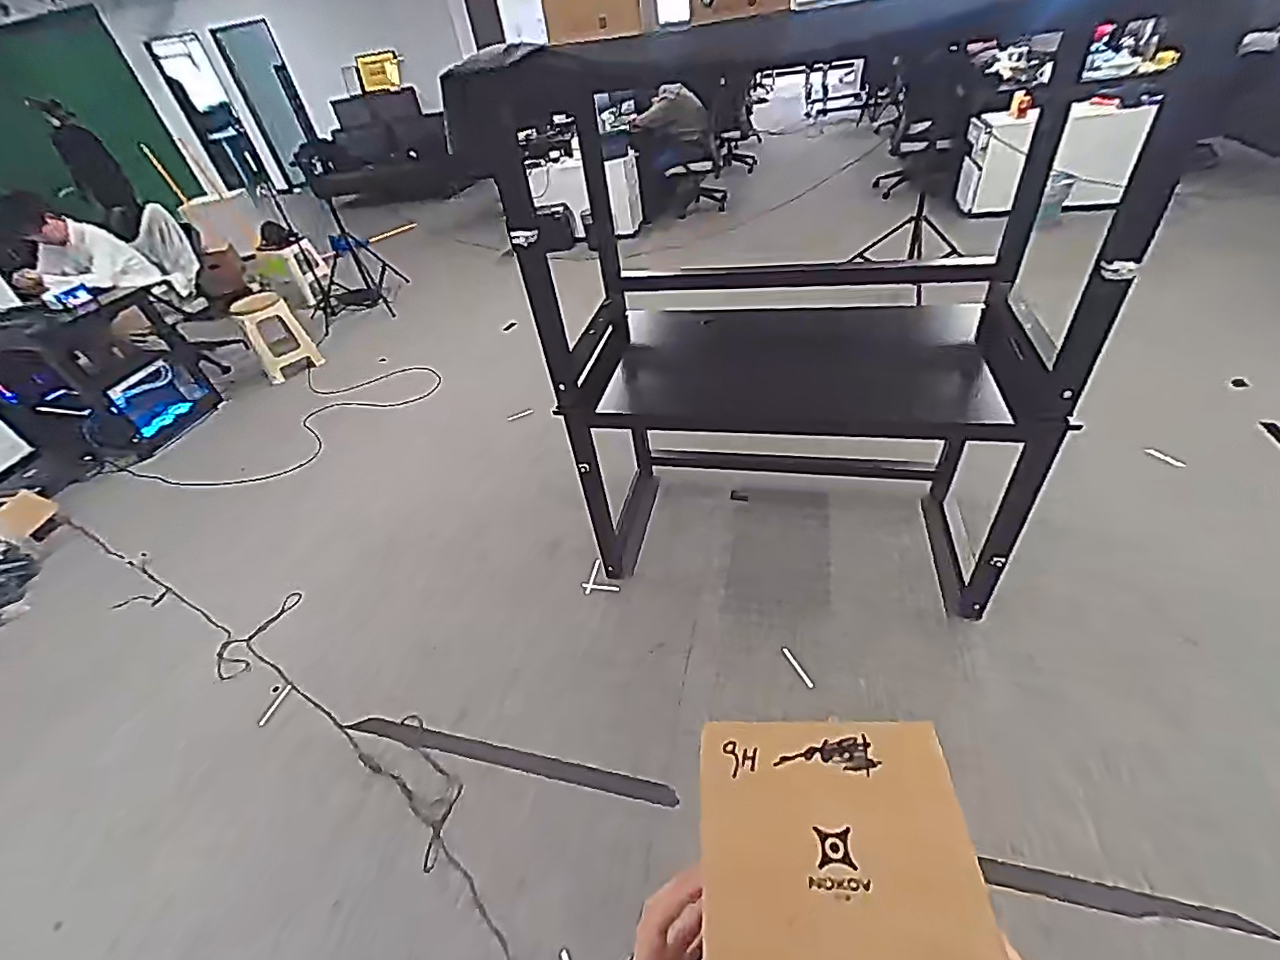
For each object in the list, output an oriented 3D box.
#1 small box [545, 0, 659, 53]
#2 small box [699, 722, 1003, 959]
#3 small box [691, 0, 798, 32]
[{"bbox_3d":[-0.065,-0.853,0.931,0.168,0.176,0.179,4,40,14],"label":"small box"},{"bbox_3d":[0.132,0.294,0.384,0.168,0.176,0.179,-3,43,9],"label":"small box"},{"bbox_3d":[0.175,-0.855,0.885,0.168,0.176,0.179,4,40,16],"label":"small box"}]
